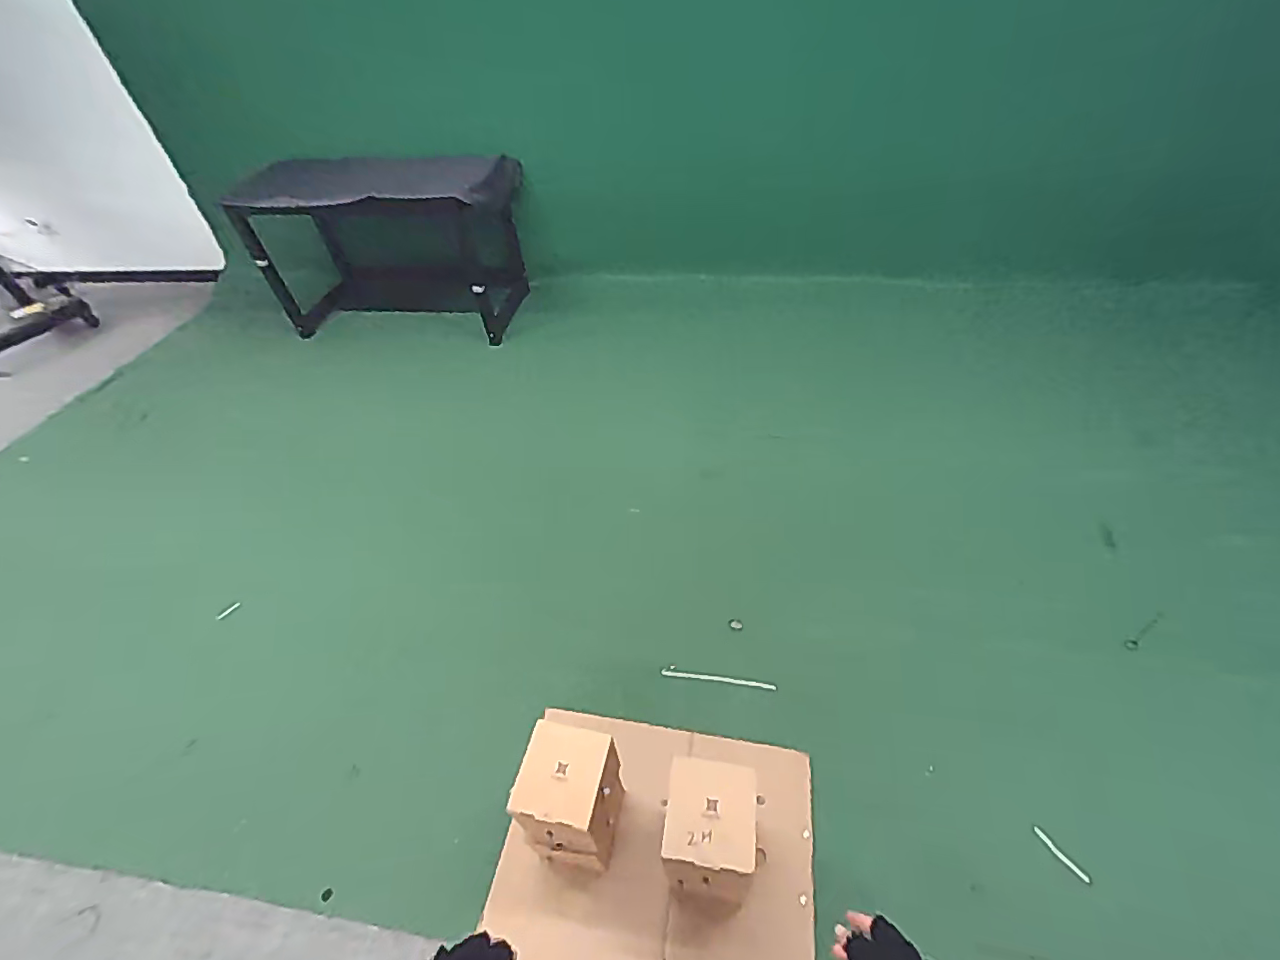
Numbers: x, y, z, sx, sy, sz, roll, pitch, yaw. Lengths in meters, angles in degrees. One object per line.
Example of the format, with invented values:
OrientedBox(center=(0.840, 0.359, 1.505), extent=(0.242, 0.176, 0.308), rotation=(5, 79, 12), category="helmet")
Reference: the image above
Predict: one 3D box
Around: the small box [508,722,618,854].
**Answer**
OrientedBox(center=(-0.147, 0.633, 1.111), extent=(0.168, 0.176, 0.179), rotation=(7, 46, 13), category="small box")

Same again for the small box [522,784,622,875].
OrientedBox(center=(-0.142, 0.757, 1.216), extent=(0.168, 0.176, 0.179), rotation=(5, 45, 12), category="small box")

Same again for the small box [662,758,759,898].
OrientedBox(center=(0.137, 0.669, 1.042), extent=(0.168, 0.176, 0.179), rotation=(4, 44, 11), category="small box")
